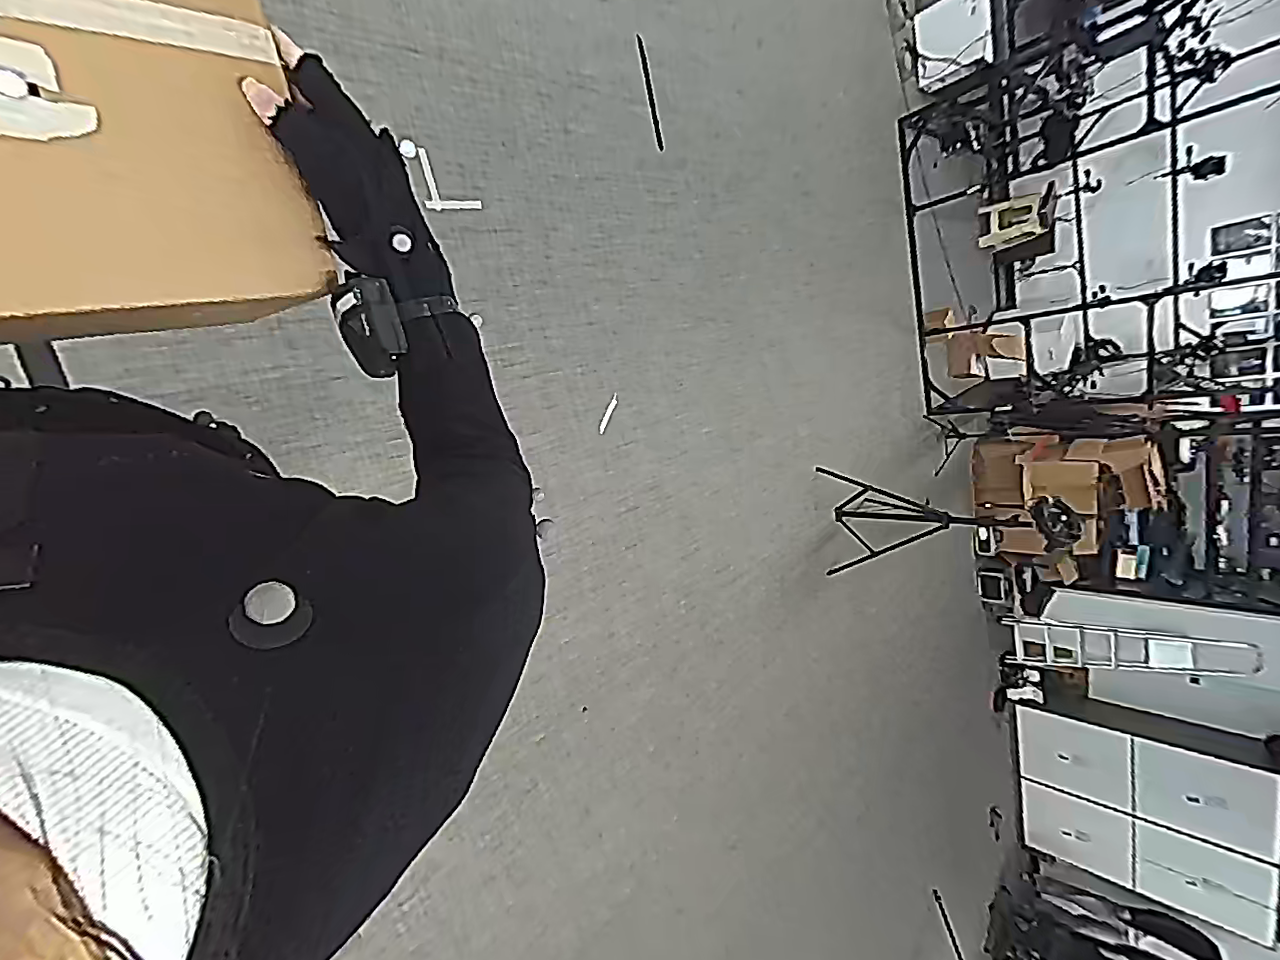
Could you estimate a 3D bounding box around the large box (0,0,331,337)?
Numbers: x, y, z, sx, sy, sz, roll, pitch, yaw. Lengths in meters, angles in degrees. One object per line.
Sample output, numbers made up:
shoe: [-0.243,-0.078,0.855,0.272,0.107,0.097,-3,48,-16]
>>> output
large box: [-0.502,-0.256,0.346,0.408,0.320,0.320,-25,116,-42]
